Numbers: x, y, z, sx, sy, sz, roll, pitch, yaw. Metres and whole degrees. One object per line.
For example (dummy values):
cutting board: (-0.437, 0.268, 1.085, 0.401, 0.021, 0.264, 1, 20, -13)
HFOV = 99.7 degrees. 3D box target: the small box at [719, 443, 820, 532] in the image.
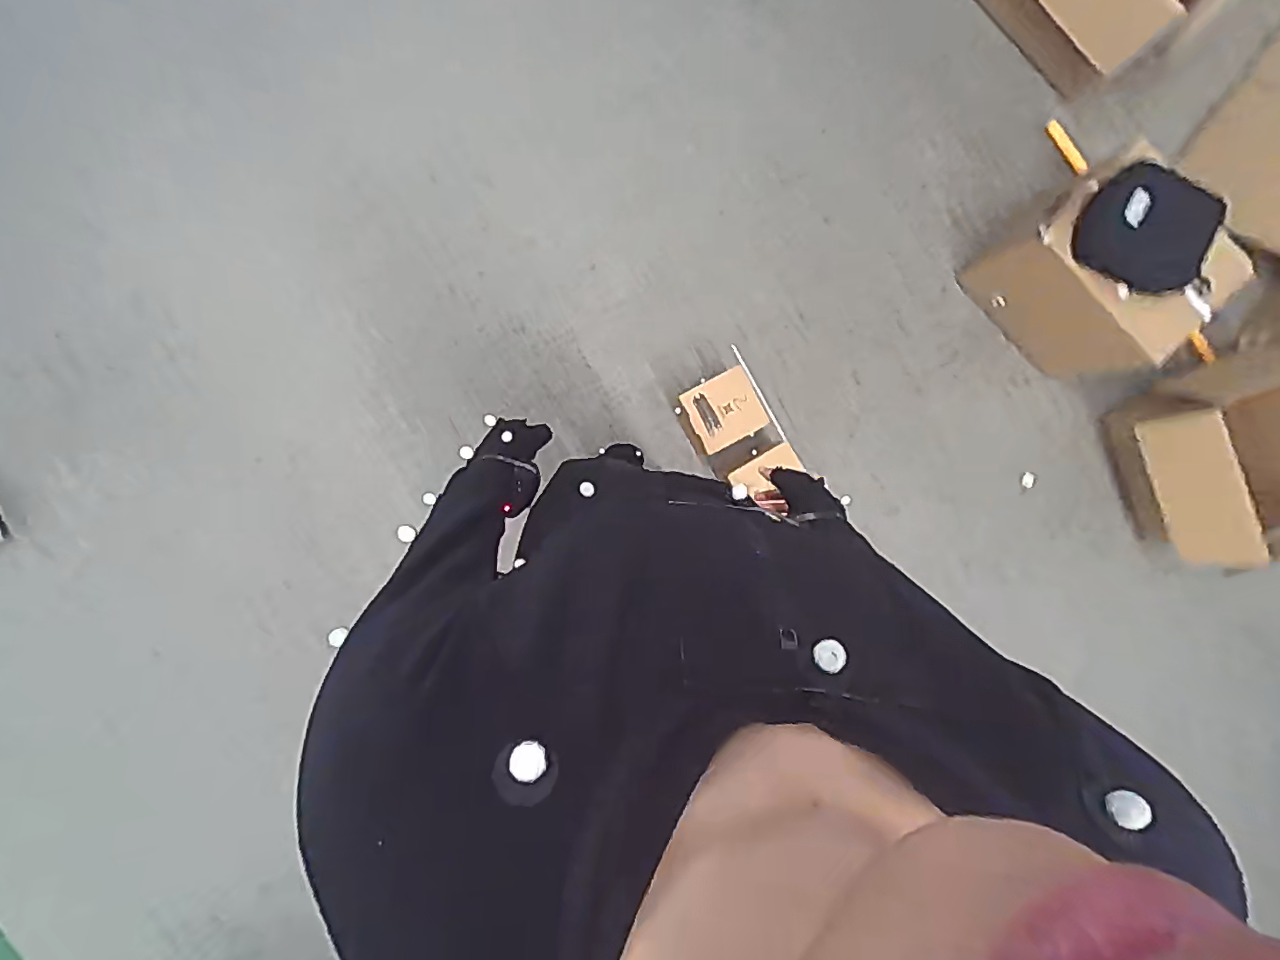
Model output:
small box: (0.328, 0.014, 1.405, 0.179, 0.176, 0.168, -30, 93, -1)
